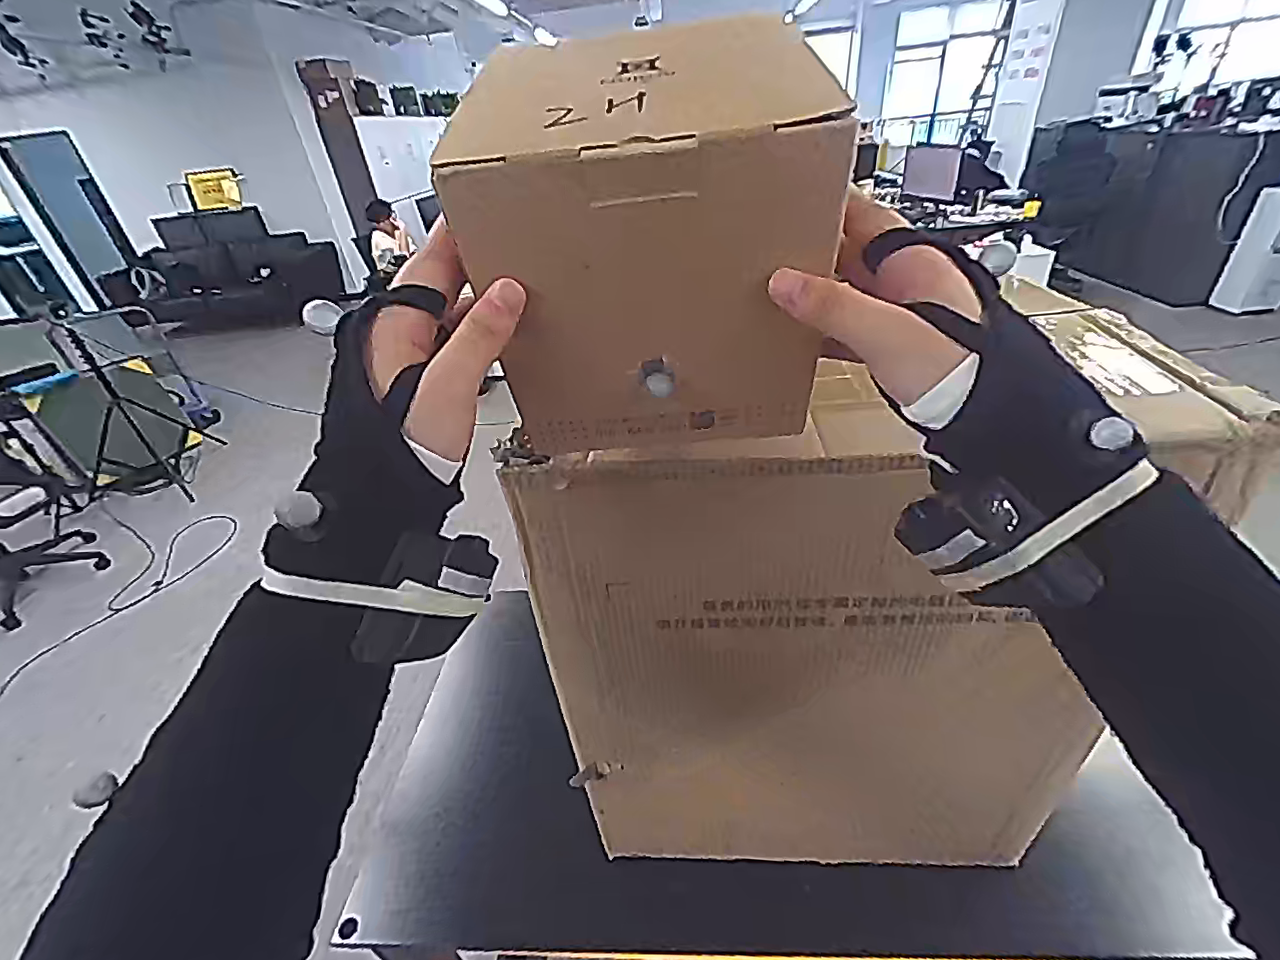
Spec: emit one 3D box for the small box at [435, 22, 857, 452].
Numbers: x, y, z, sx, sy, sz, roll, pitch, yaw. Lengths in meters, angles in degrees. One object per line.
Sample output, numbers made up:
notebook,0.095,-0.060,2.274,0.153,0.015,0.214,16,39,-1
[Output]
small box,0.008,-0.138,0.320,0.168,0.176,0.179,-4,49,5
